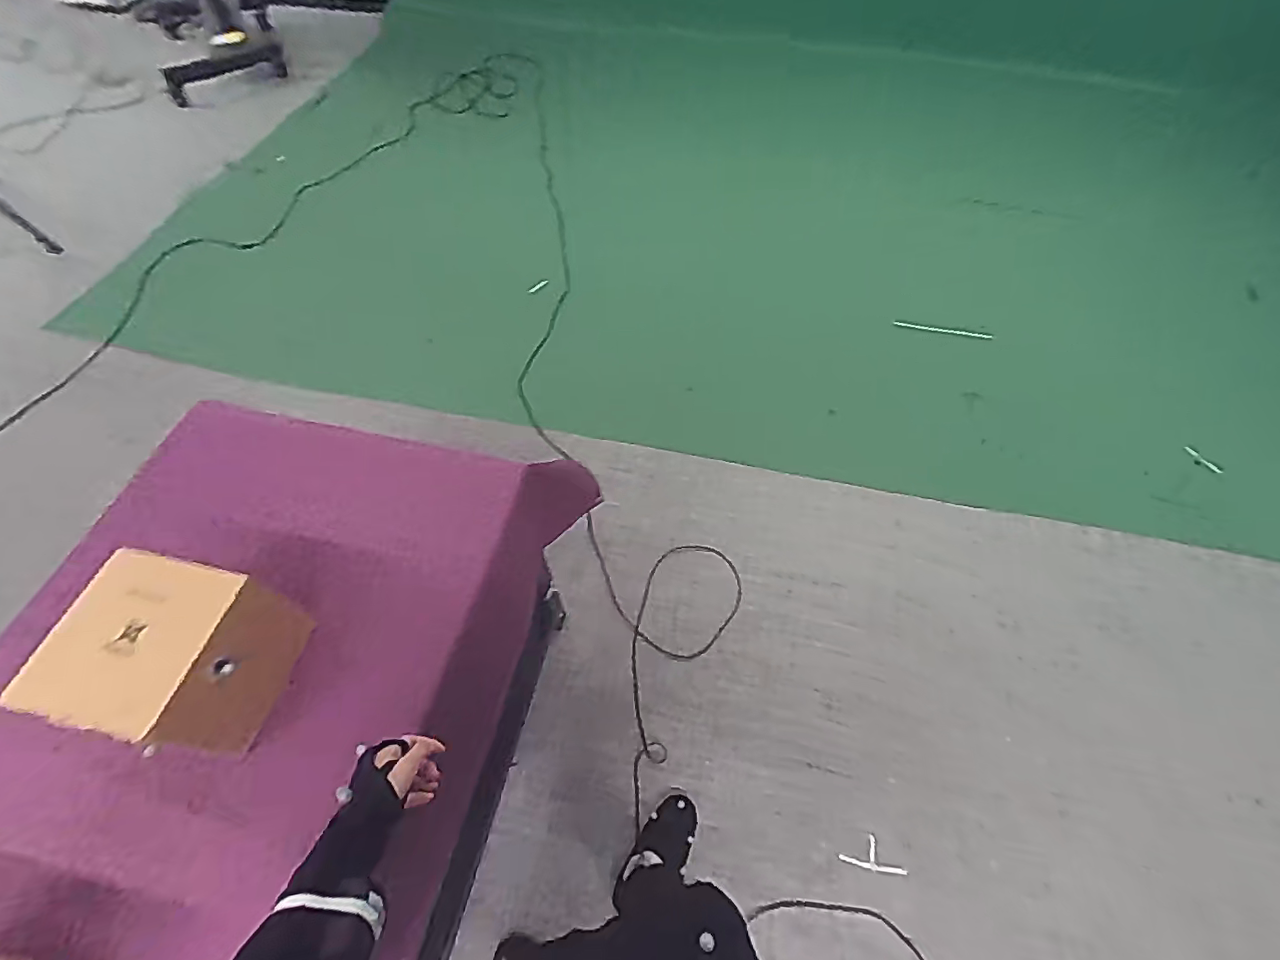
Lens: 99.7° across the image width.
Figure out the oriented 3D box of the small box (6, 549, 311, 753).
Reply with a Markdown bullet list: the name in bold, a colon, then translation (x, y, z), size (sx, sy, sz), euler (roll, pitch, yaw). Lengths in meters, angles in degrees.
- **small box**: translation (-0.538, 0.209, 0.642), size (0.168, 0.176, 0.179), euler (12, 58, 6)
